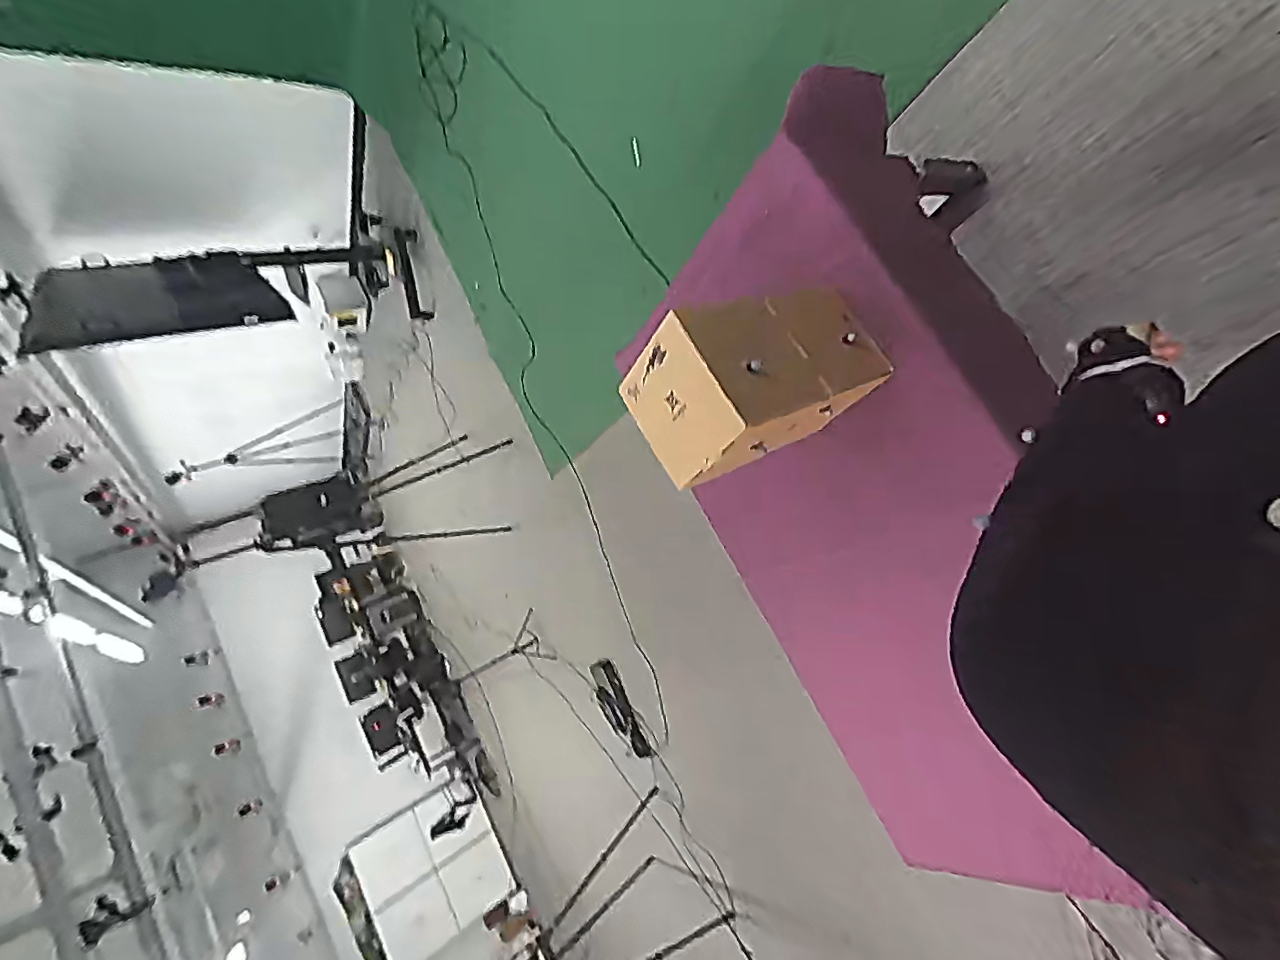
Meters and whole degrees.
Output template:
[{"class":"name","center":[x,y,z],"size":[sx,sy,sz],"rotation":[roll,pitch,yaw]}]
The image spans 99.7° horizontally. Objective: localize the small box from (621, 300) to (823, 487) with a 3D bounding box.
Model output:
[{"class":"small box","center":[0.111,-0.122,0.734],"size":[0.179,0.176,0.168],"rotation":[59,143,12]}]

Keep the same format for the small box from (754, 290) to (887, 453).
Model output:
[{"class":"small box","center":[0.236,-0.168,0.832],"size":[0.168,0.176,0.179],"rotation":[60,143,13]}]
